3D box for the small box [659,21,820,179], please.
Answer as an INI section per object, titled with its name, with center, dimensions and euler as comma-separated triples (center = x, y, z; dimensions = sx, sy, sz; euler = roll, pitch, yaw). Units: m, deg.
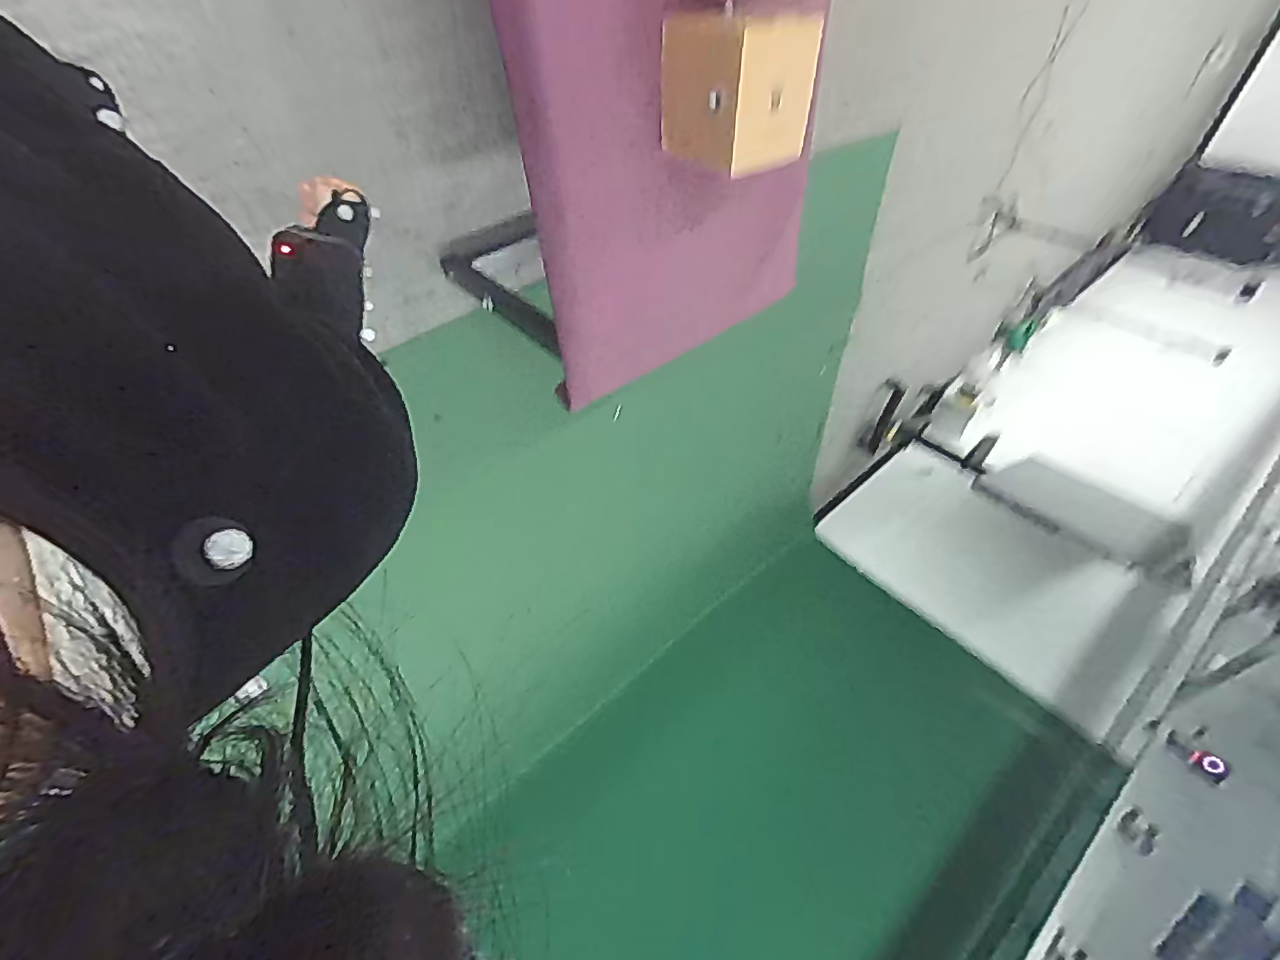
[small box]
center = 0.143, -0.589, 0.833
dimensions = 0.168, 0.176, 0.179
euler = -29, 142, -27
